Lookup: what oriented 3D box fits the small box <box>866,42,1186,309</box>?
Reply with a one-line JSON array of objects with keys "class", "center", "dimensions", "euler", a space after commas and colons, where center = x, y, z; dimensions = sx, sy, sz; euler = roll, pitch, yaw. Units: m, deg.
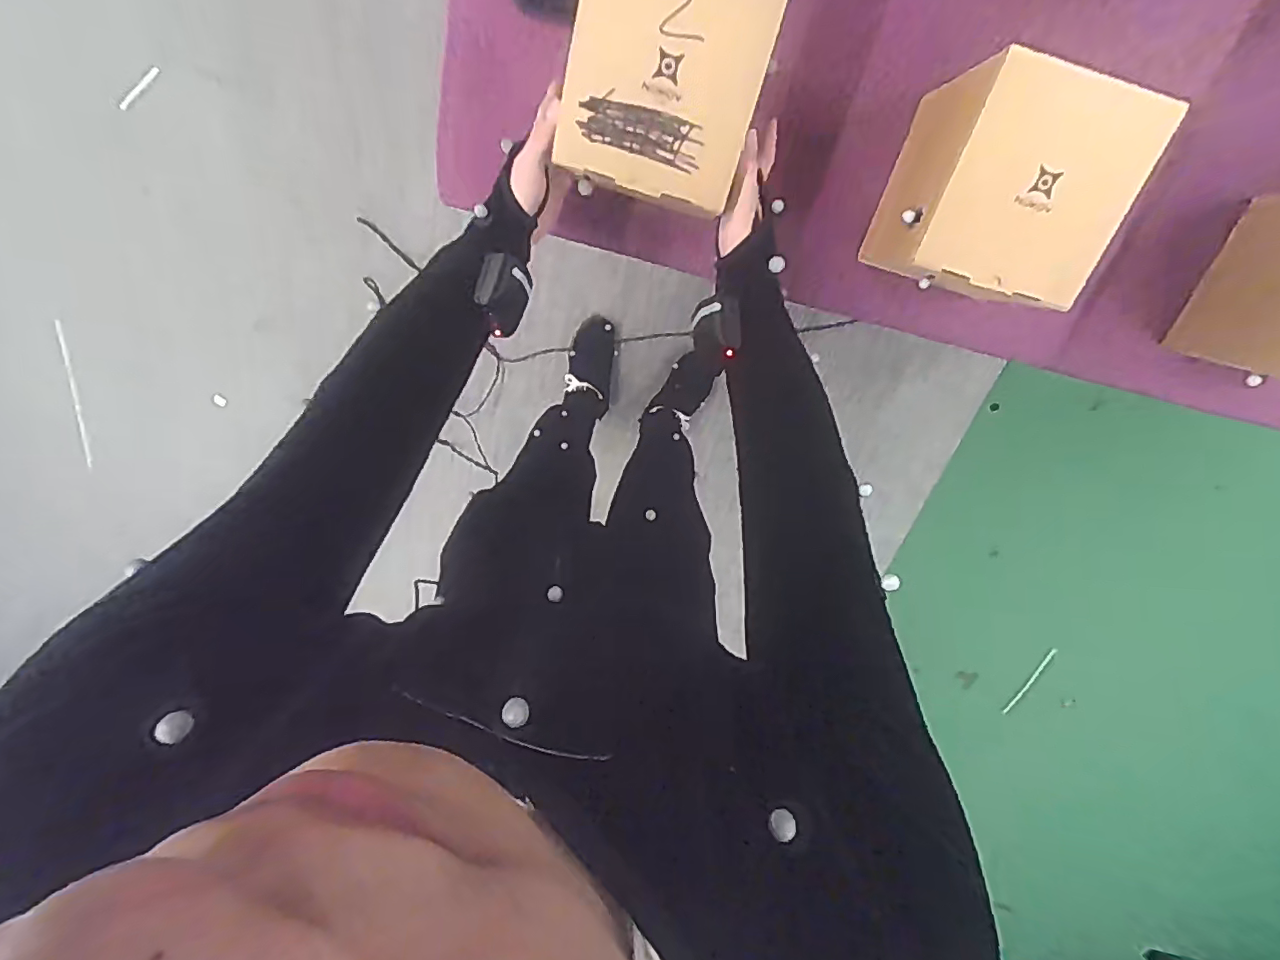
[{"class": "small box", "center": [0.358, -0.292, 0.549], "dimensions": [0.168, 0.176, 0.179], "euler": [15, 115, -3]}]

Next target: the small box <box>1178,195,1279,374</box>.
[{"class": "small box", "center": [0.742, -0.192, 0.563], "dimensions": [0.168, 0.176, 0.179], "euler": [13, 116, -1]}]
